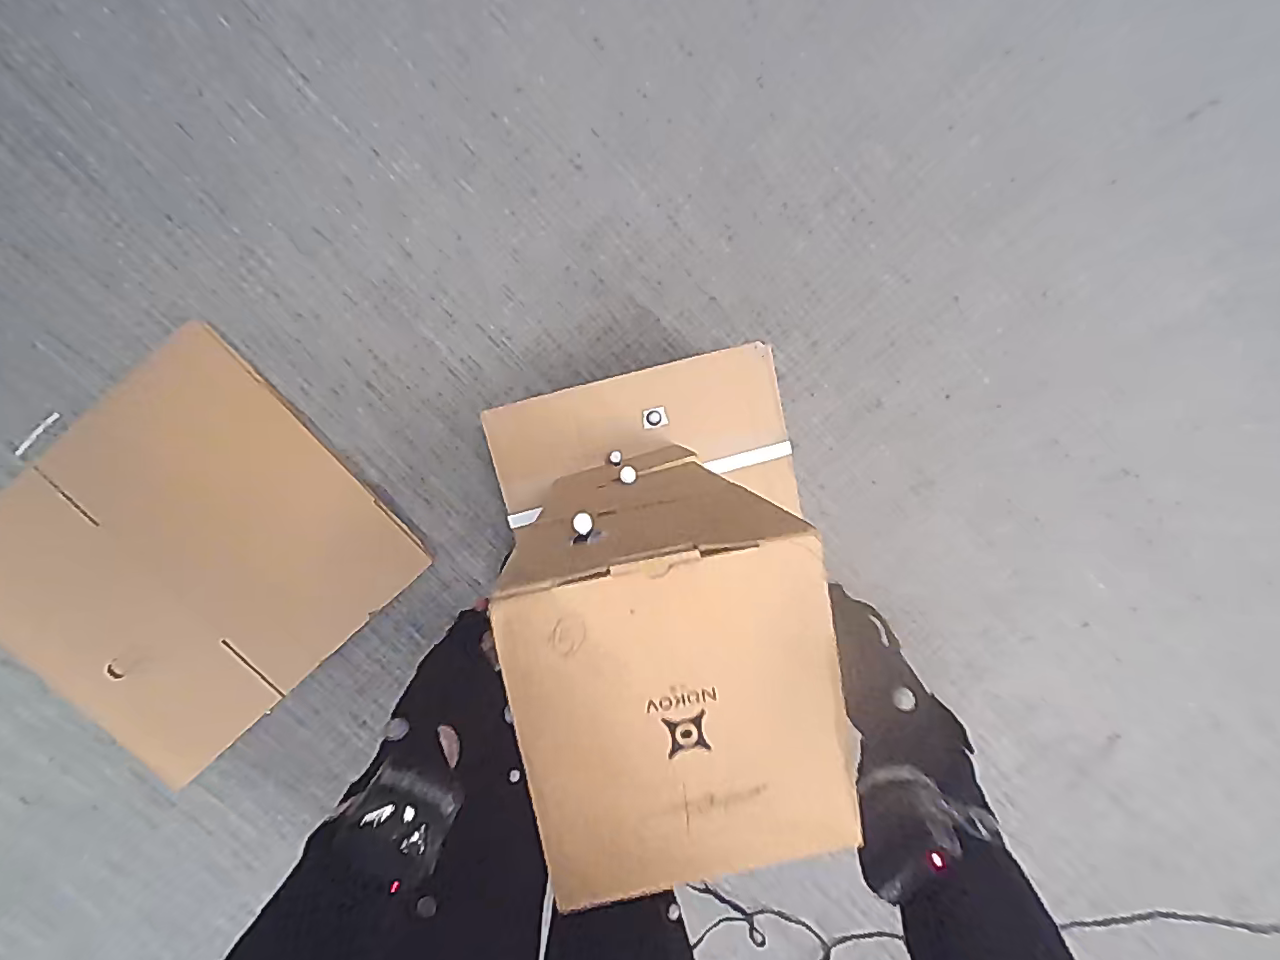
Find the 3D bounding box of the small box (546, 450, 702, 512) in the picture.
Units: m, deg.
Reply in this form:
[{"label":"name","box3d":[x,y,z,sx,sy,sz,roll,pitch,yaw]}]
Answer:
[{"label":"small box","box3d":[-0.001,0.067,0.679,0.179,0.176,0.168,-20,96,-2]}]

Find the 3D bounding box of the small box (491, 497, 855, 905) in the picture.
[{"label":"small box","box3d":[0.015,0.113,0.353,0.168,0.176,0.179,-11,98,-2]}]

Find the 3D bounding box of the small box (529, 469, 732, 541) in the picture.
[{"label":"small box","box3d":[0.006,0.097,0.515,0.168,0.176,0.179,-14,97,-2]}]
